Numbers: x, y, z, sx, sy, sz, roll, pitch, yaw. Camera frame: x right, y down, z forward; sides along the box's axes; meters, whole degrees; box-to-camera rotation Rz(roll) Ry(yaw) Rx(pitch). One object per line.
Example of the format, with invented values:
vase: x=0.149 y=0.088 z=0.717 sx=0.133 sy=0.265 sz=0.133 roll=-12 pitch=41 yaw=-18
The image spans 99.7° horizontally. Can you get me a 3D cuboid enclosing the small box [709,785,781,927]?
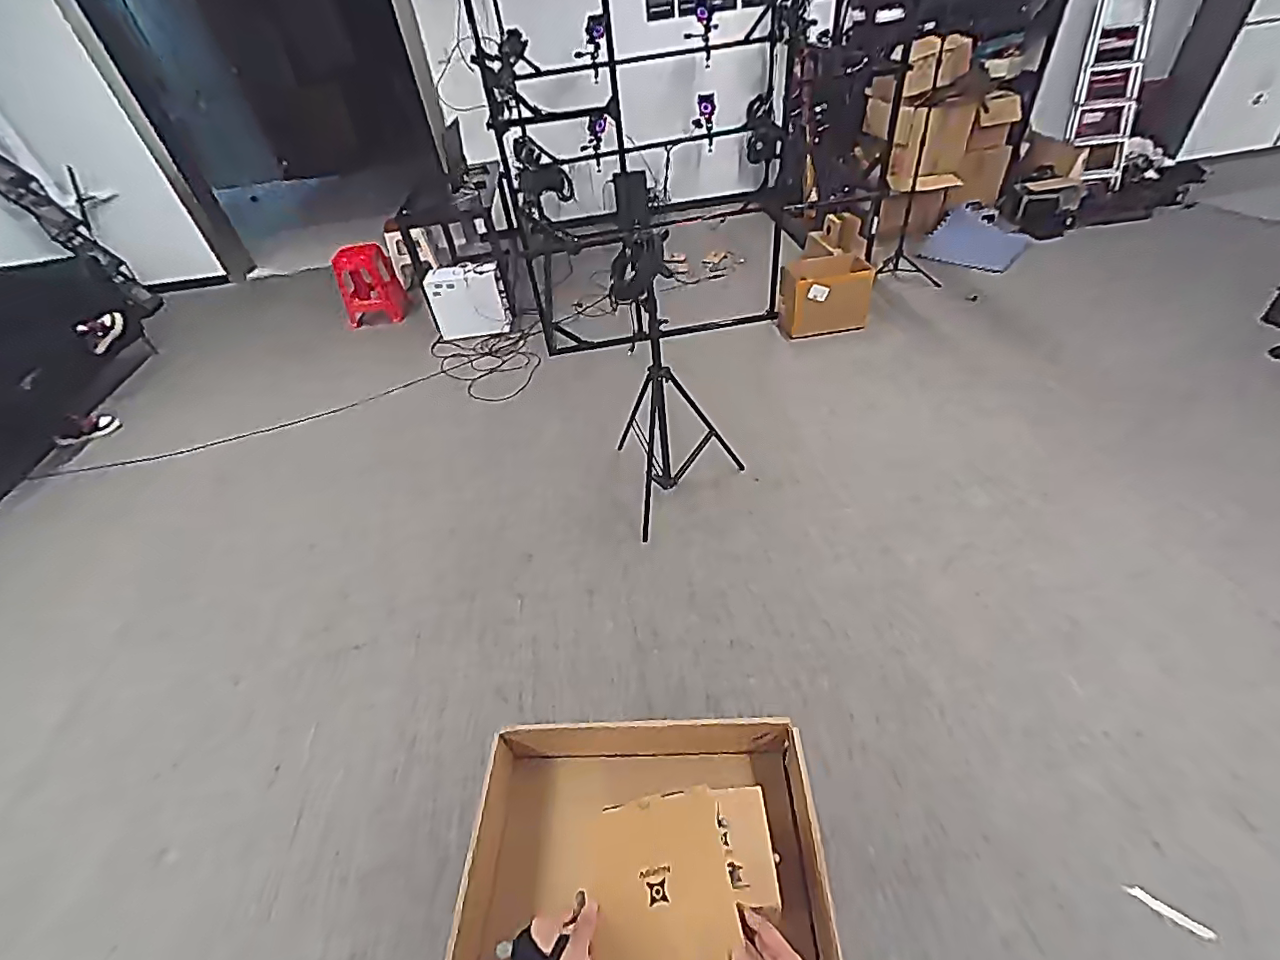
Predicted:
small box: x=0.146 y=0.661 z=0.945 sx=0.168 sy=0.176 sz=0.179 roll=-5 pitch=41 yaw=3

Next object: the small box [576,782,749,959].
small box: x=0.029 y=0.492 z=0.650 sx=0.168 sy=0.176 sz=0.179 roll=-13 pitch=49 yaw=-2
